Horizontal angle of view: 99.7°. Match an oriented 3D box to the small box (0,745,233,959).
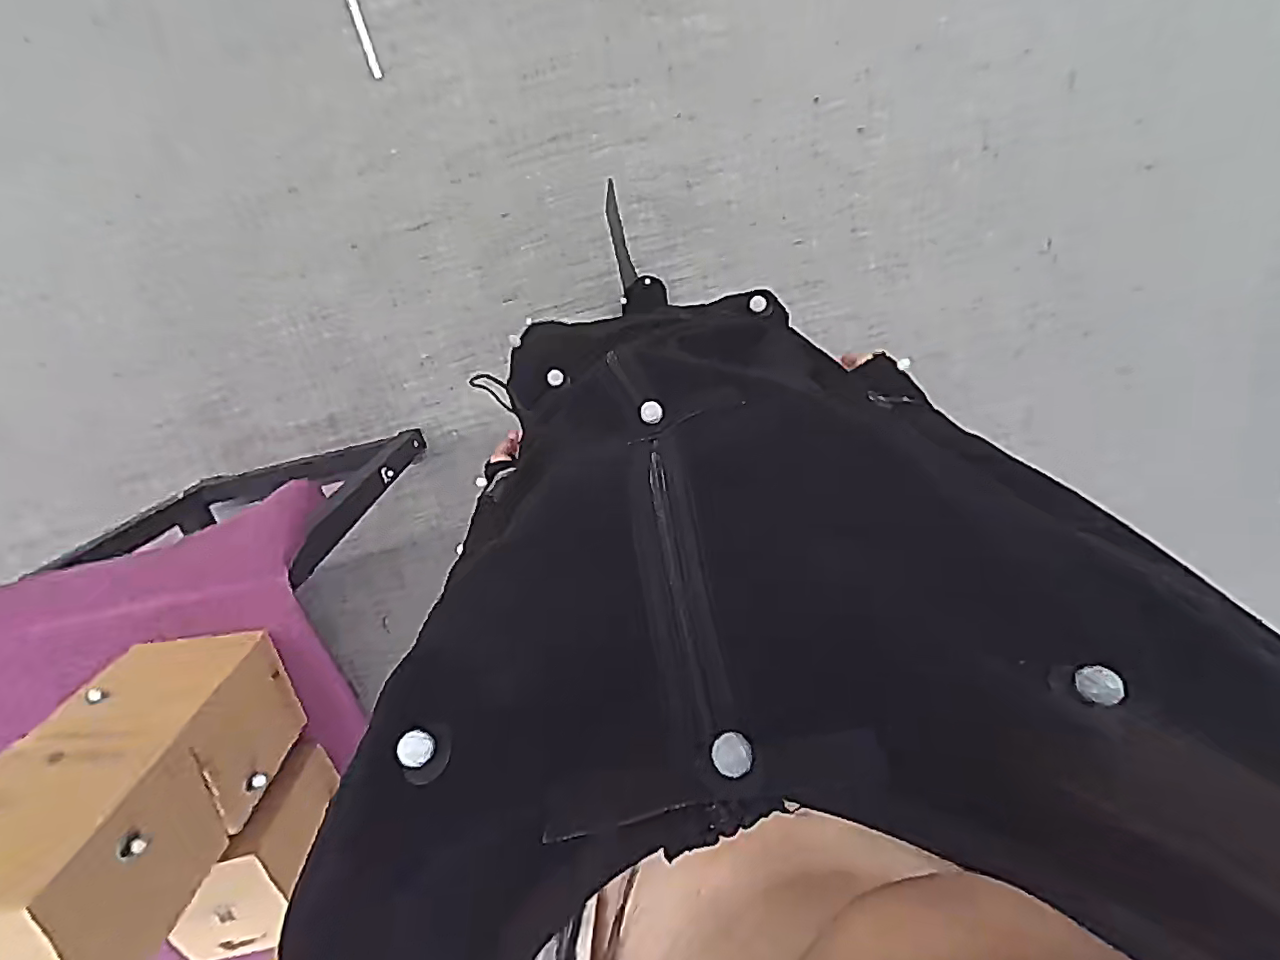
[{"bbox_3d":[-0.545,0.378,0.519,0.168,0.176,0.179,-2,114,-2],"label":"small box"}]
